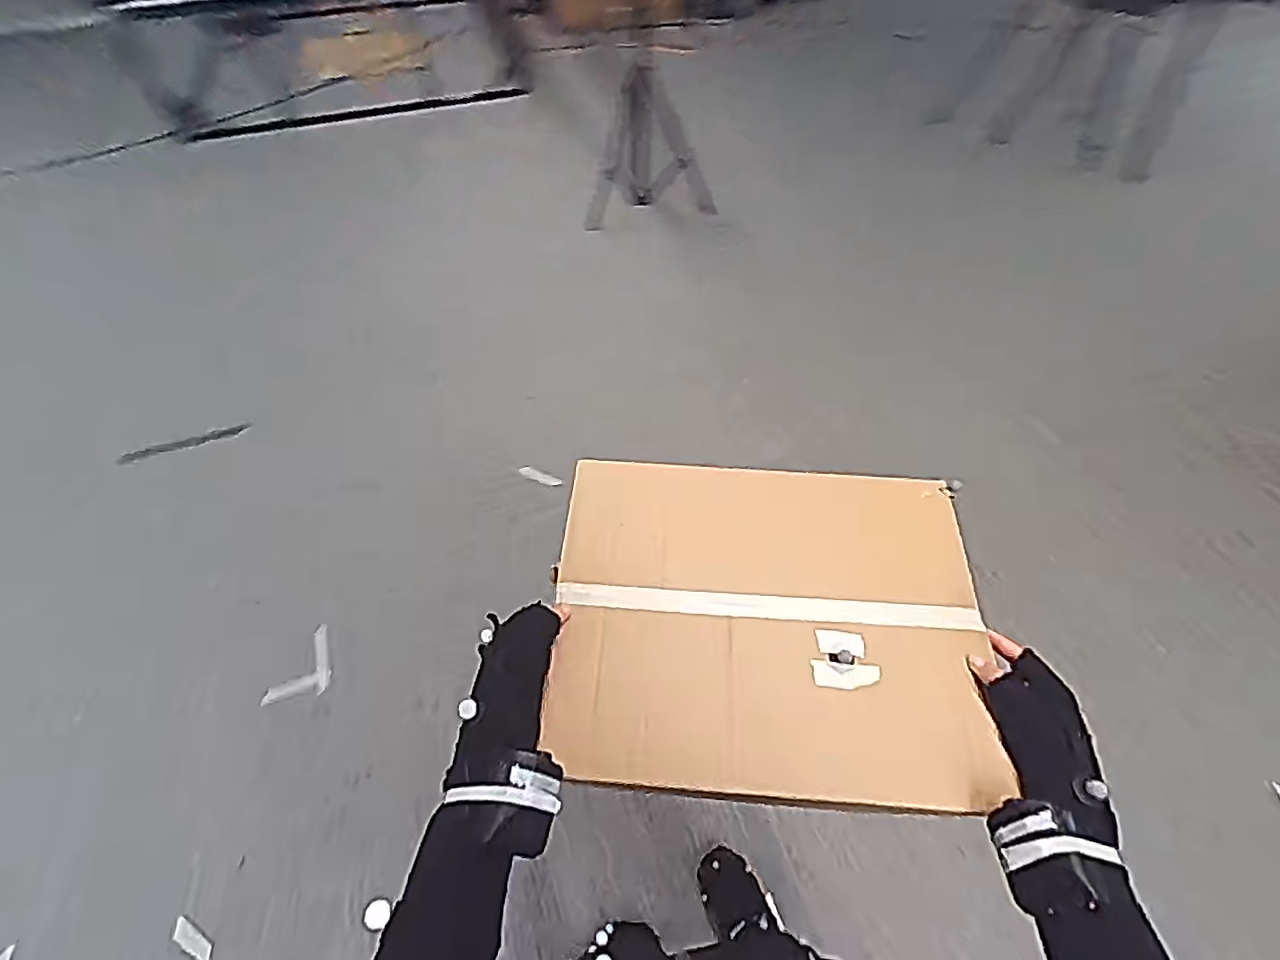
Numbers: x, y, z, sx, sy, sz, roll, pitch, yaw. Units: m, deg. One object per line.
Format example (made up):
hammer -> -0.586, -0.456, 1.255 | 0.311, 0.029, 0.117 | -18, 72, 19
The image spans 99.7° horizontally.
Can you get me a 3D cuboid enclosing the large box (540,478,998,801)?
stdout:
large box -> 0.112, 0.210, 0.666 | 0.408, 0.320, 0.320 | 2, 60, 1
